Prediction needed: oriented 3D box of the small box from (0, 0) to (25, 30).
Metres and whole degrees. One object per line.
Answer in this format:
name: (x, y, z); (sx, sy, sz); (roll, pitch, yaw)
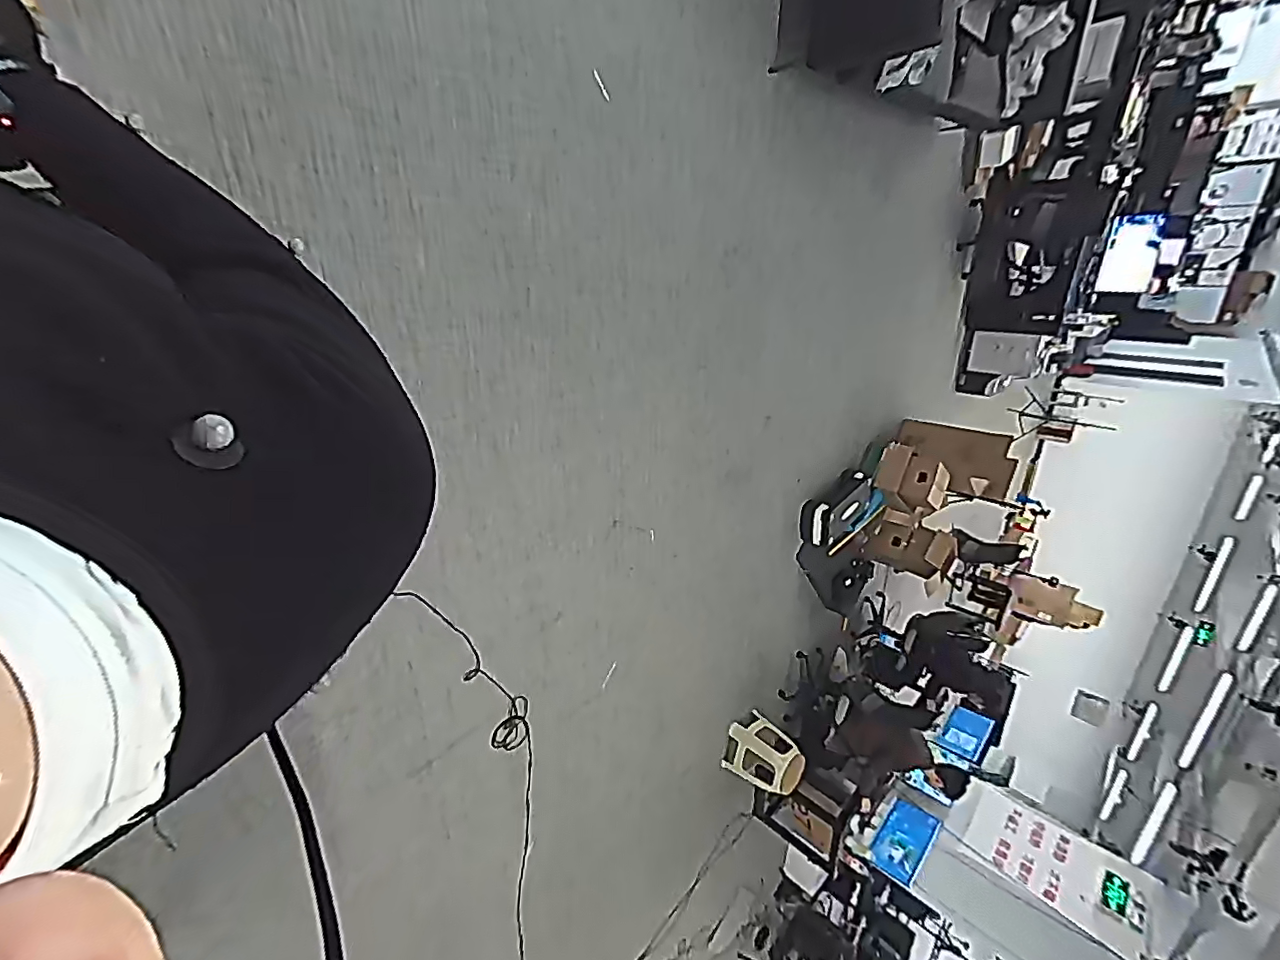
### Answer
small box: (-1.068, -0.822, 0.805); (0.168, 0.176, 0.179); (-17, 118, -41)
